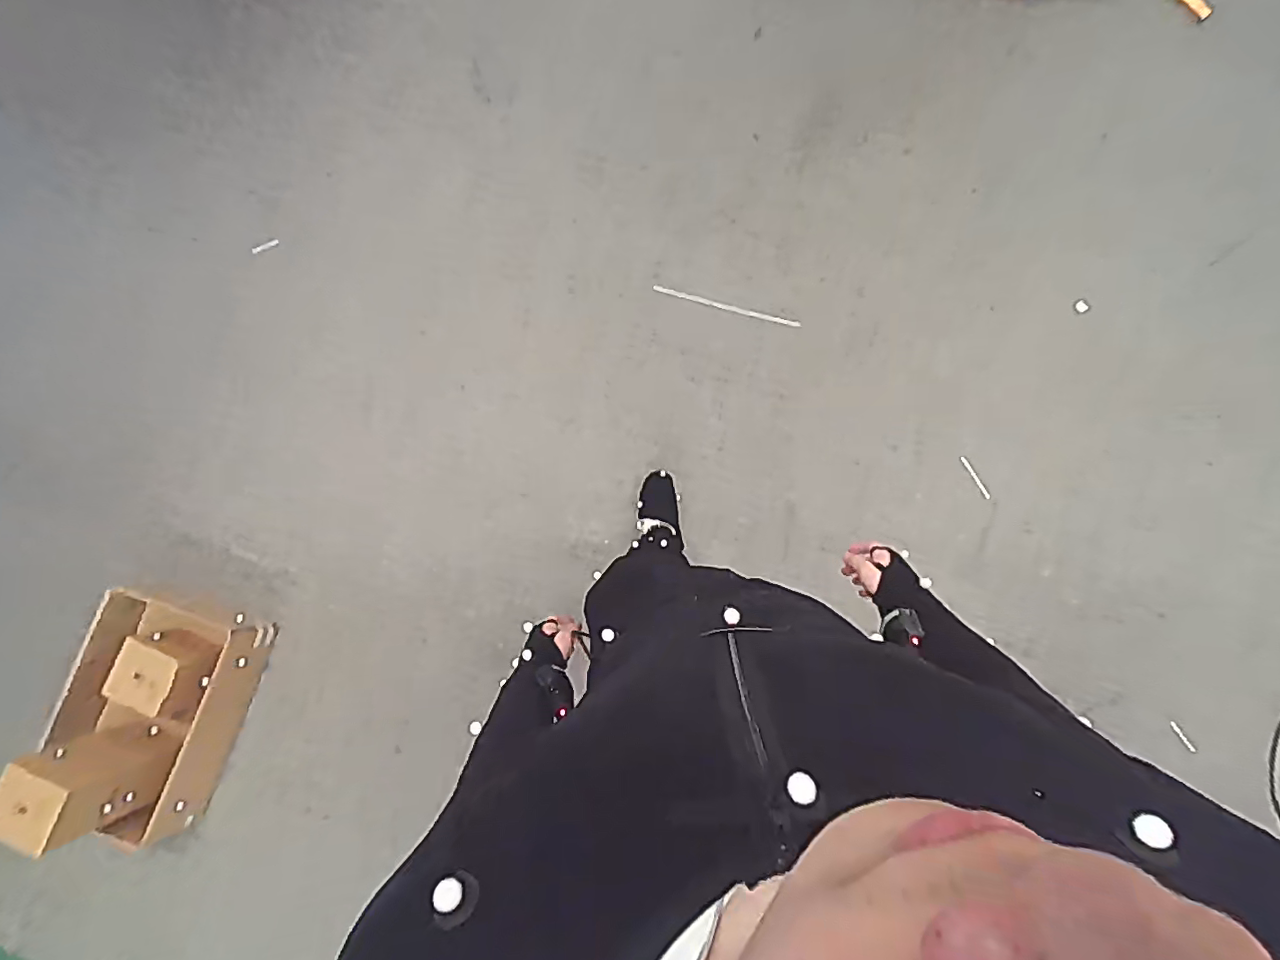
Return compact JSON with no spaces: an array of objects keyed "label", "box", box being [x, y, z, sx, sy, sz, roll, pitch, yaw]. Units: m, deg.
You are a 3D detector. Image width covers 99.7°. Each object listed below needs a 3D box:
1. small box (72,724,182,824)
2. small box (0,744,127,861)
[{"label":"small box","box":[-1.441,0.799,1.493,0.179,0.176,0.168,21,85,6]},{"label":"small box","box":[-1.446,0.780,1.332,0.179,0.176,0.168,20,84,4]}]
